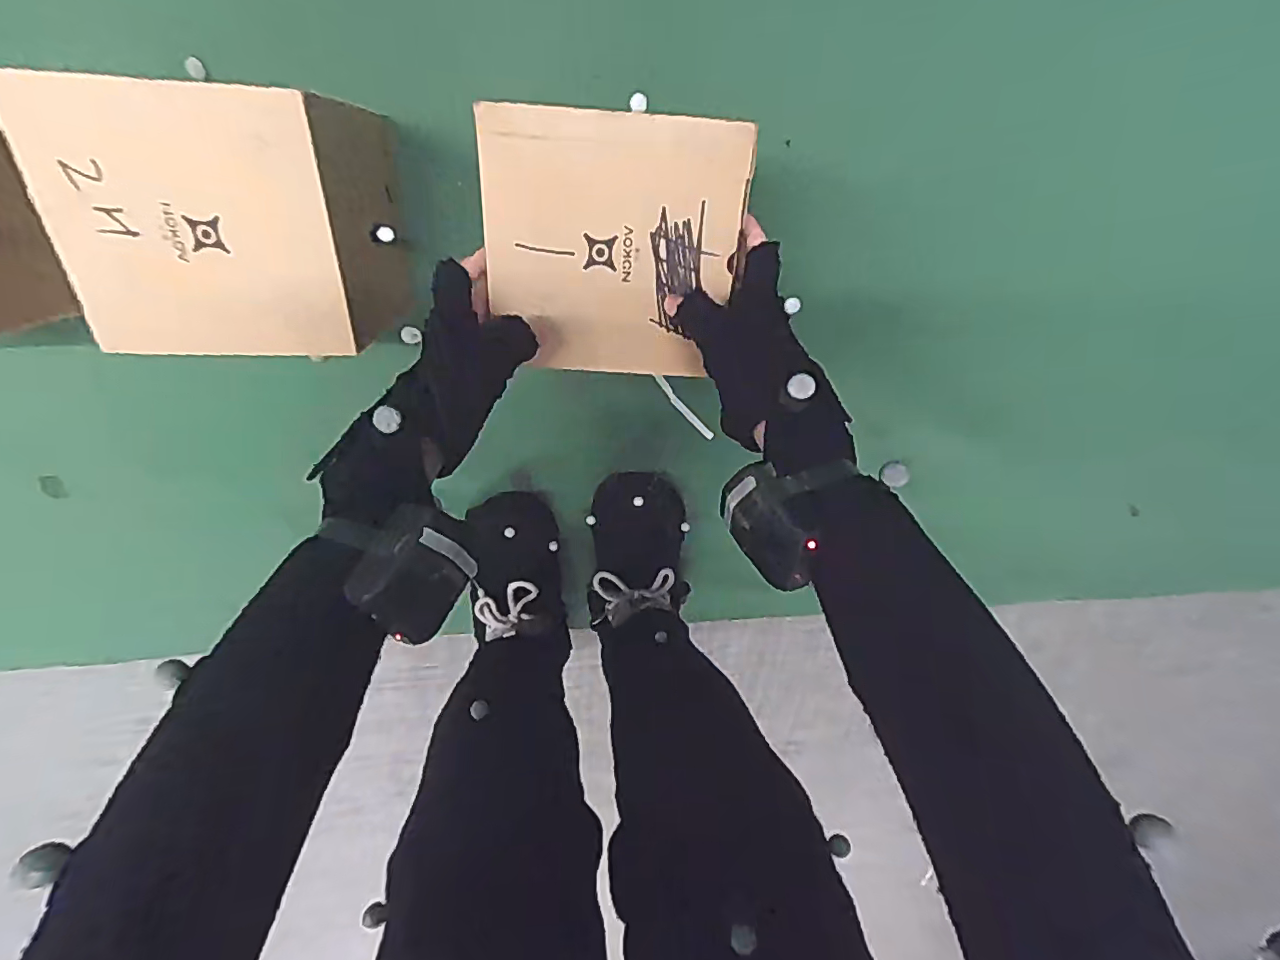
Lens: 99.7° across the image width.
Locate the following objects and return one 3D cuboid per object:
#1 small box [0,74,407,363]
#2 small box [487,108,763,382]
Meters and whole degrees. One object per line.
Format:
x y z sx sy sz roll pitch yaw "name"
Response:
-0.296 -0.199 0.426 0.179 0.176 0.168 1 119 -8 "small box"
-0.016 -0.190 0.442 0.179 0.176 0.168 4 118 -2 "small box"
